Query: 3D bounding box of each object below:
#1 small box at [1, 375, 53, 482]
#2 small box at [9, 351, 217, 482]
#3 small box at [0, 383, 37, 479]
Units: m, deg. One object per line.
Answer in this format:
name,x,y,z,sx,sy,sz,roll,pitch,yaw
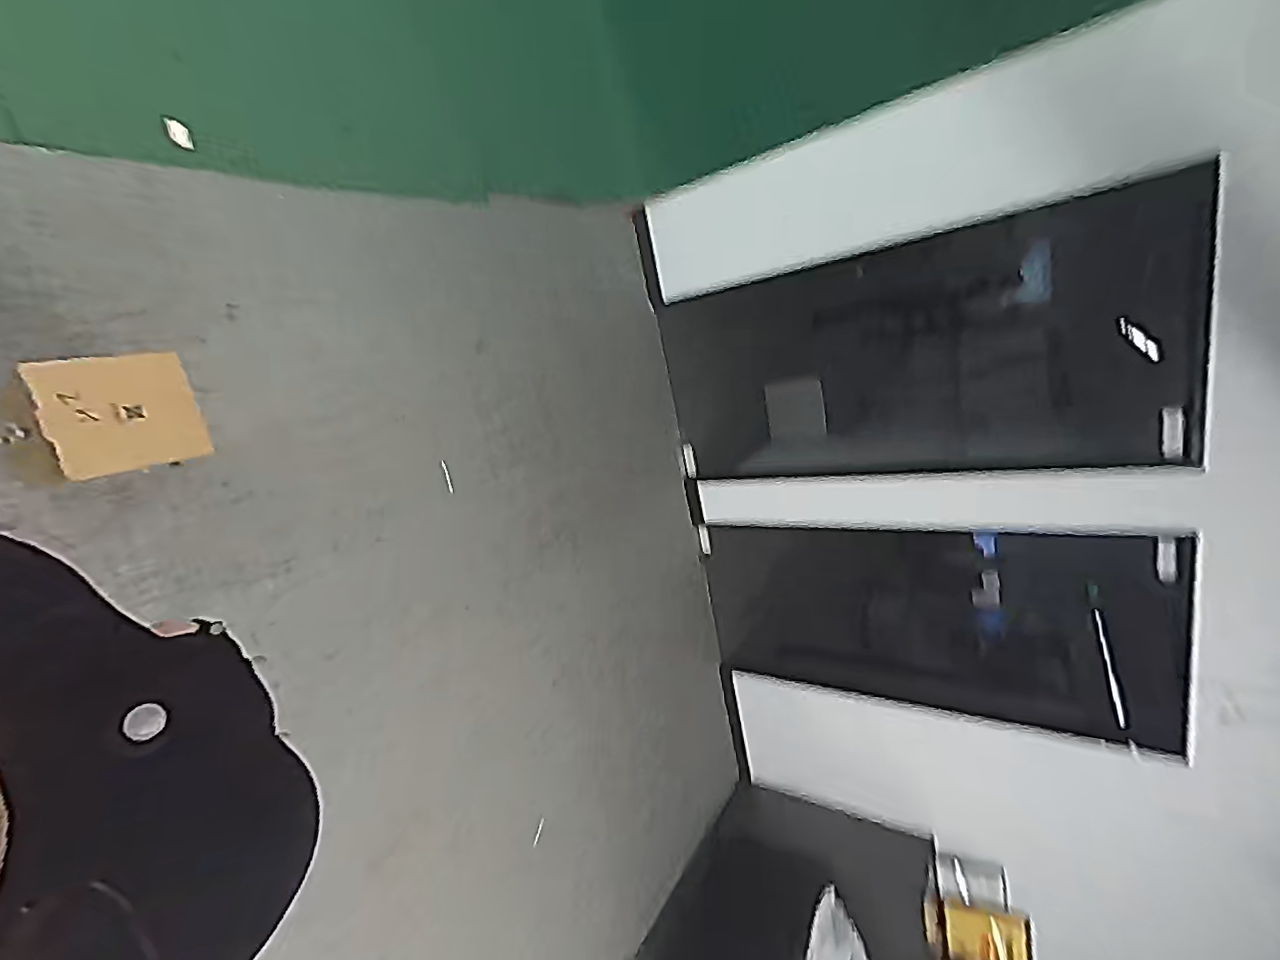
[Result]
small box,-0.940,-0.098,0.933,0.179,0.176,0.168,-26,108,-50
small box,-0.808,-0.098,0.834,0.179,0.176,0.168,-26,108,-51
small box,-1.071,-0.098,1.029,0.179,0.176,0.168,-21,106,-52
